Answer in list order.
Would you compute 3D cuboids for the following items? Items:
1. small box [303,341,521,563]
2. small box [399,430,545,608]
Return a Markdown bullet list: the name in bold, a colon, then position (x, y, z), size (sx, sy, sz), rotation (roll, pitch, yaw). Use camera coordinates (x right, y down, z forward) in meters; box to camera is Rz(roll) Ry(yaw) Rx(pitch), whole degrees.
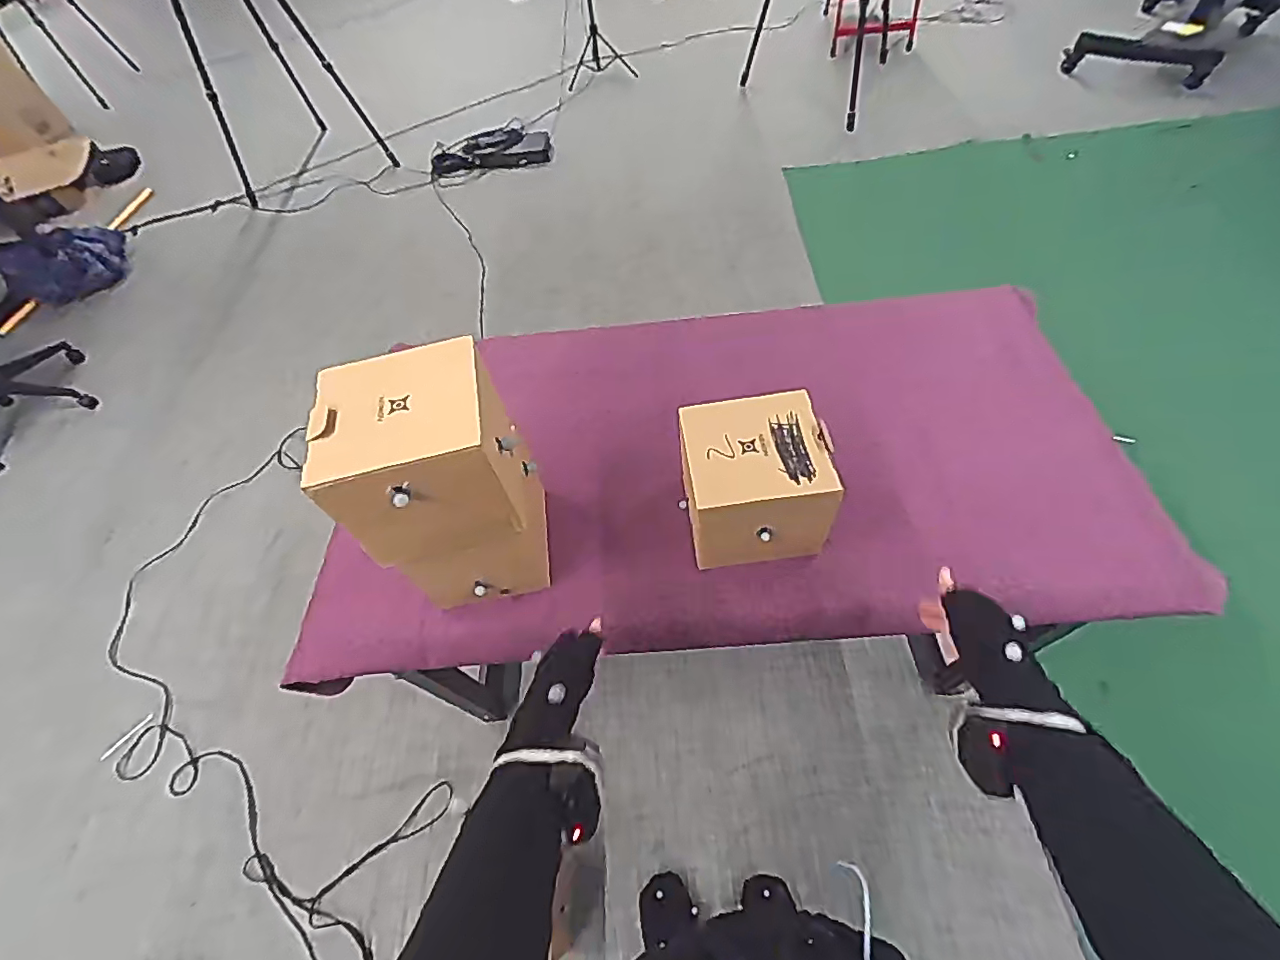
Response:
- **small box**: position (-0.242, -0.027, 0.621), size (0.179, 0.176, 0.168), rotation (-14, 55, -3)
- **small box**: position (-0.233, 0.058, 0.760), size (0.168, 0.176, 0.179), rotation (-9, 55, 0)
